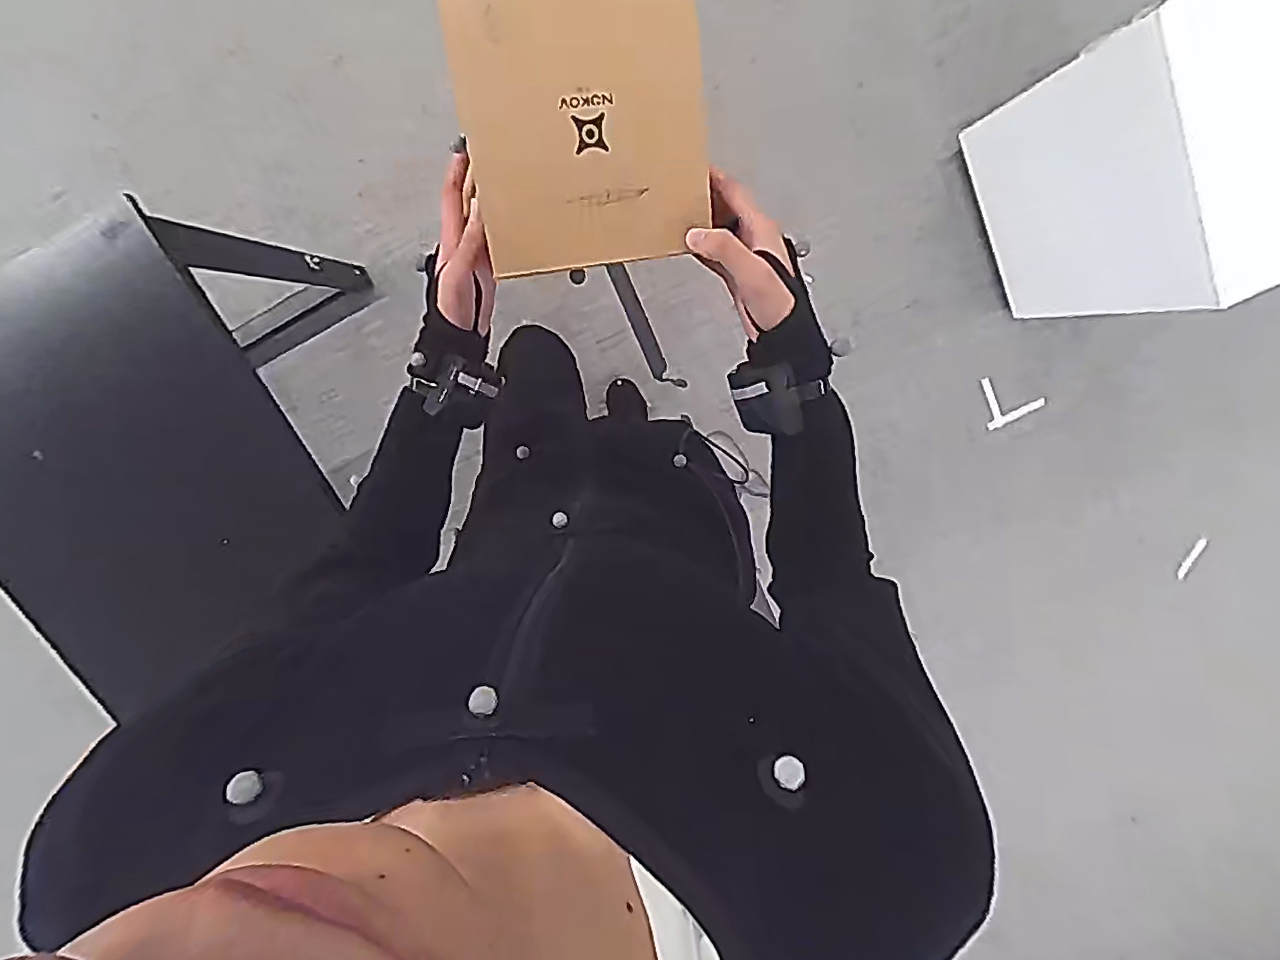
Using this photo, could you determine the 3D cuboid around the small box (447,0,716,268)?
[{"bbox_3d":[-0.047,-0.268,0.428,0.168,0.176,0.179,-10,114,-8],"label":"small box"}]
